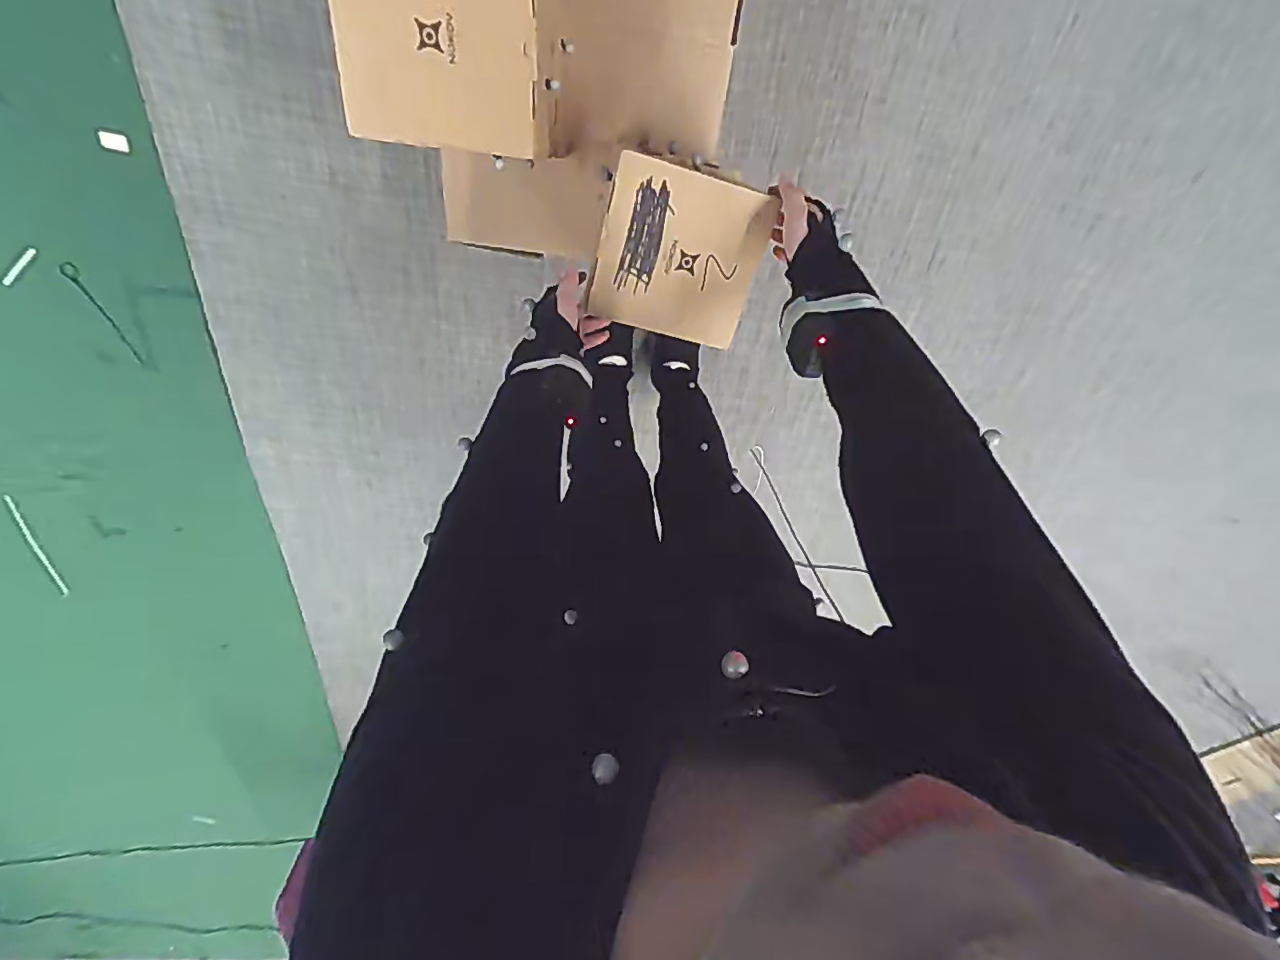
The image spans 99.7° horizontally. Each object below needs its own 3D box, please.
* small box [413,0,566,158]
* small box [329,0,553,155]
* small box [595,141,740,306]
[{"bbox_3d":[-0.186,-0.513,0.684,0.179,0.176,0.168,3,121,-4],"label":"small box"},{"bbox_3d":[-0.185,-0.431,0.543,0.179,0.176,0.168,3,121,-6],"label":"small box"},{"bbox_3d":[0.027,-0.373,0.782,0.168,0.176,0.179,8,121,-9],"label":"small box"}]
